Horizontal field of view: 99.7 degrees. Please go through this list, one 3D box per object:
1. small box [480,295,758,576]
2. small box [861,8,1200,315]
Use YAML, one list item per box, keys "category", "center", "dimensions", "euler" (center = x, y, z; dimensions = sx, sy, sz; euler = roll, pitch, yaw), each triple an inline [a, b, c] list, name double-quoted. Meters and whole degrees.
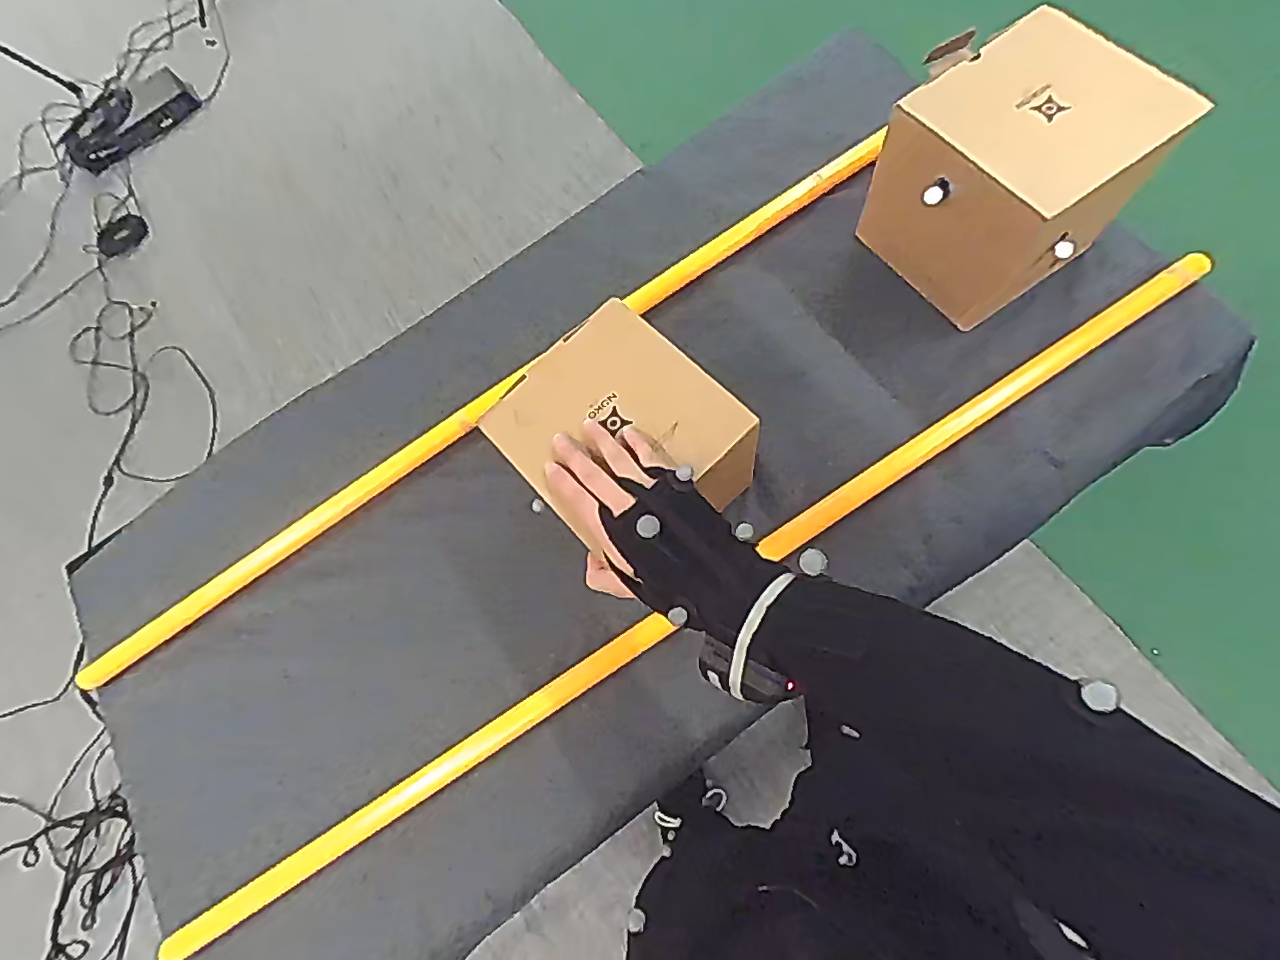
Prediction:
- category: "small box"
  center: [-0.010, -0.028, 0.513]
  dimensions: [0.168, 0.176, 0.179]
  euler: [-44, 71, -5]
- category: "small box"
  center: [0.351, -0.291, 0.533]
  dimensions: [0.168, 0.176, 0.179]
  euler: [-35, 69, -1]
